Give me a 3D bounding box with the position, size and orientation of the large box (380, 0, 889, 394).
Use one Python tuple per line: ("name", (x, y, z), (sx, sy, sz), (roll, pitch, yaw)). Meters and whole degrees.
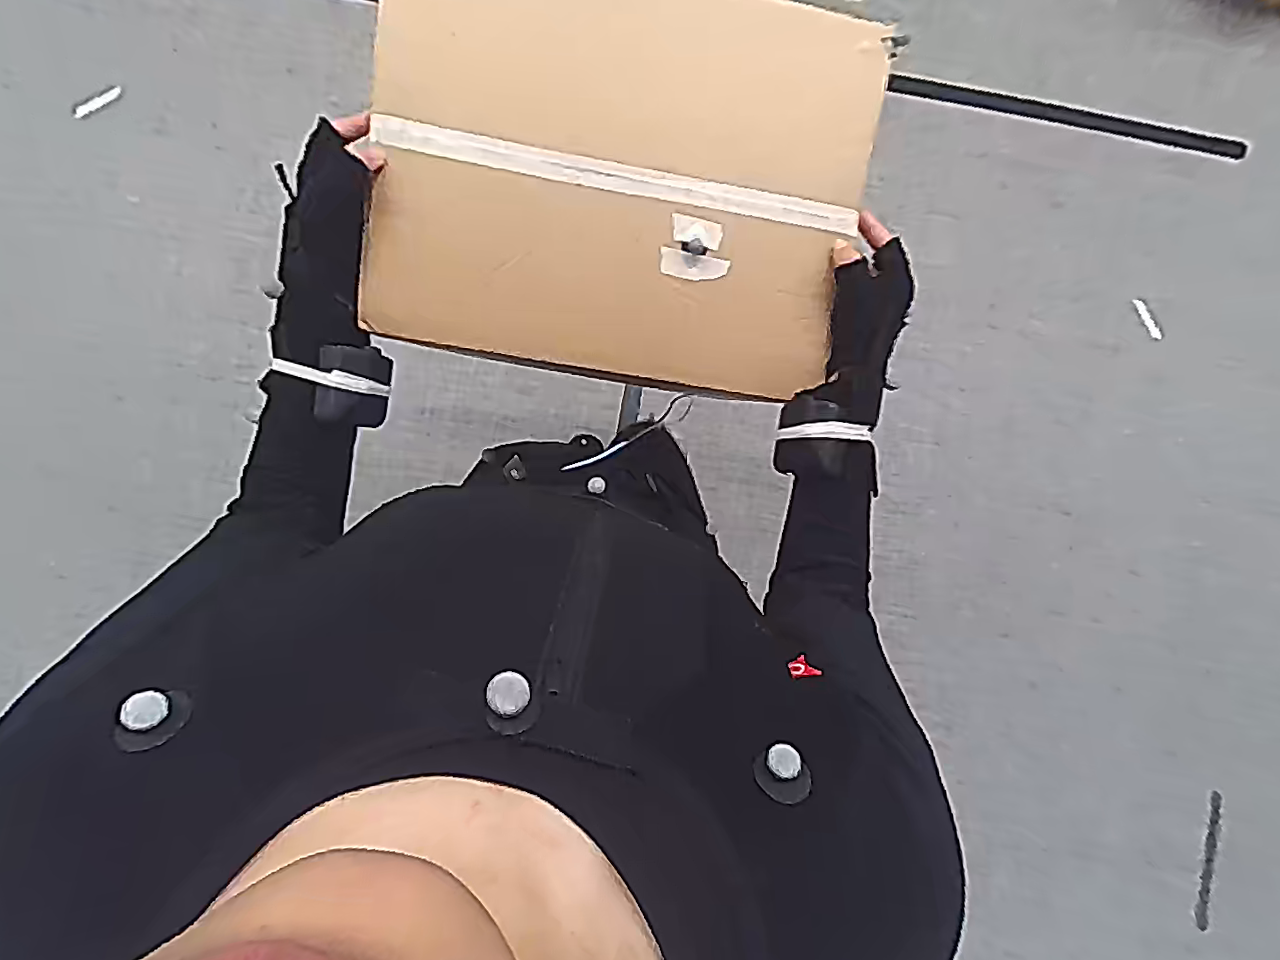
("large box", (-0.020, -0.280, 0.603), (0.408, 0.320, 0.320), (9, 100, -7))
